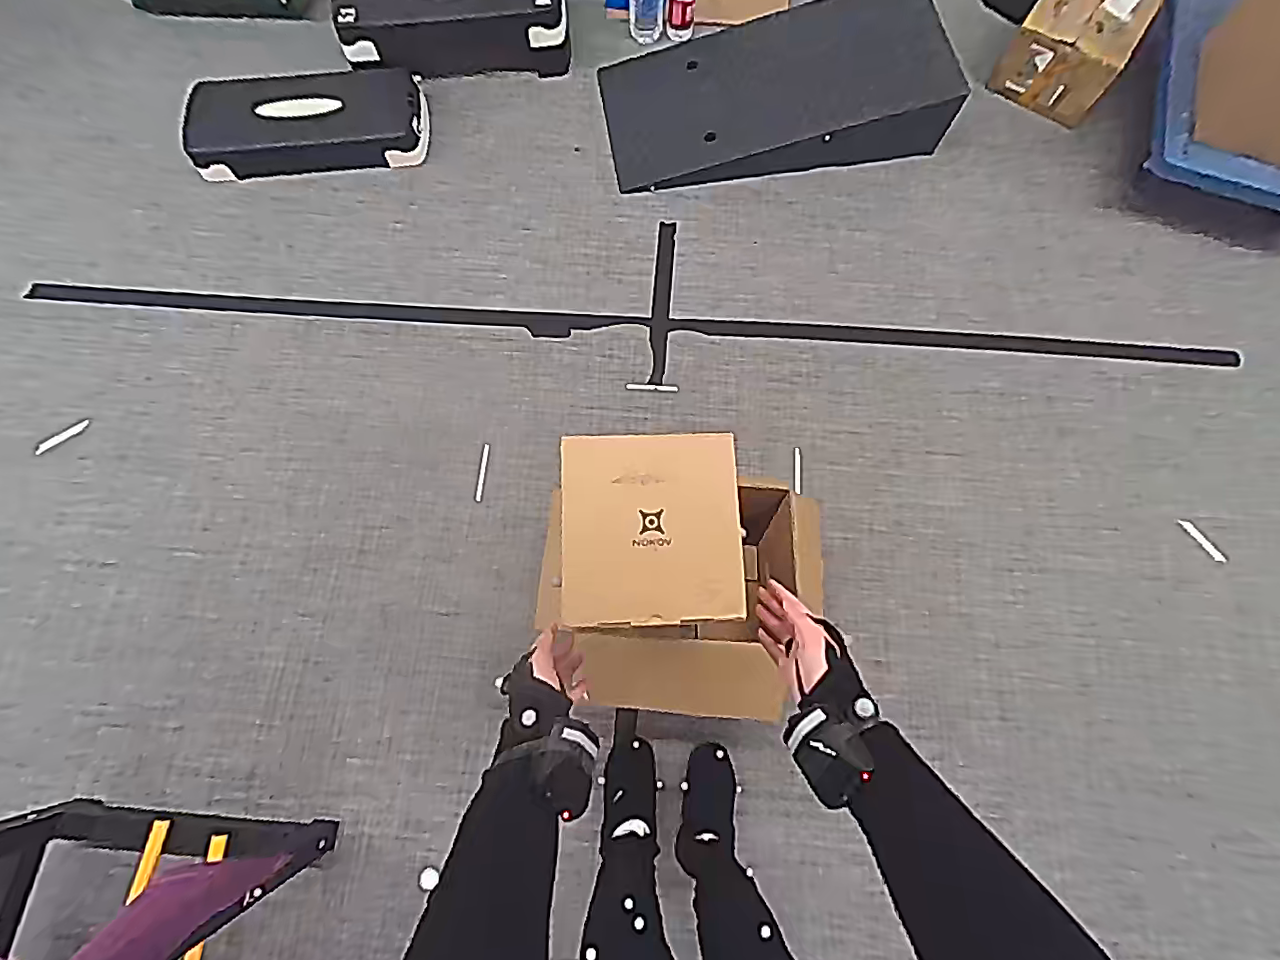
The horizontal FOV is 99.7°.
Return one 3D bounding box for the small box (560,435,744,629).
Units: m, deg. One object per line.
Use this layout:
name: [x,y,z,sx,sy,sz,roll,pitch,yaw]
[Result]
small box: [0.005,0.059,0.568,0.168,0.176,0.179,-1,77,-5]
